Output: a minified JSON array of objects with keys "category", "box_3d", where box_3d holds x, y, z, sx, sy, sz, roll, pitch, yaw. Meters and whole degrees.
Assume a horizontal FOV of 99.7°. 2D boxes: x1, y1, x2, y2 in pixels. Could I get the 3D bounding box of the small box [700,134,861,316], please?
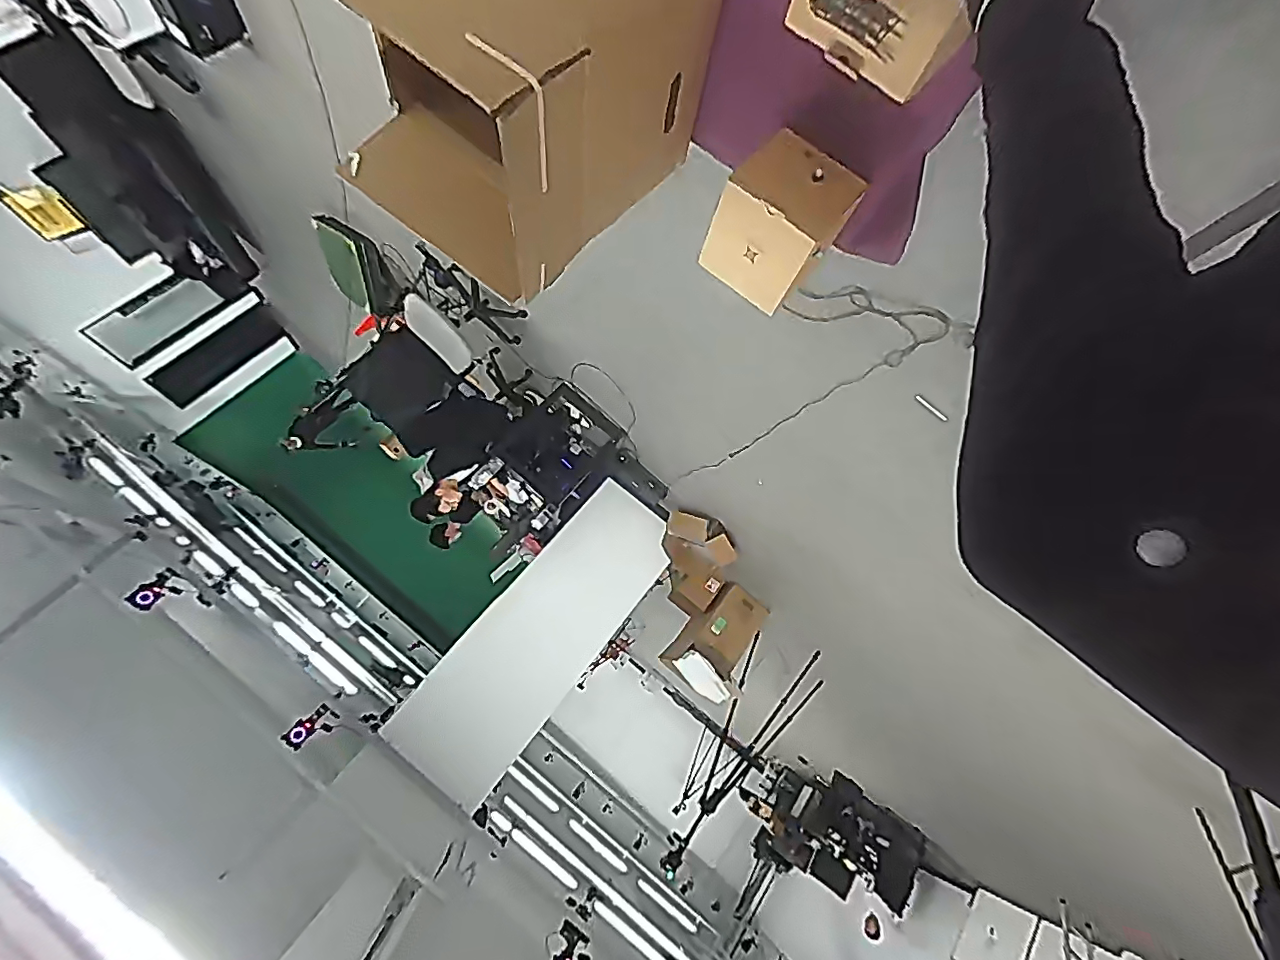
[{"category":"small box","box_3d":[0.229,-0.419,0.894,0.168,0.176,0.179,39,157,7]}]
